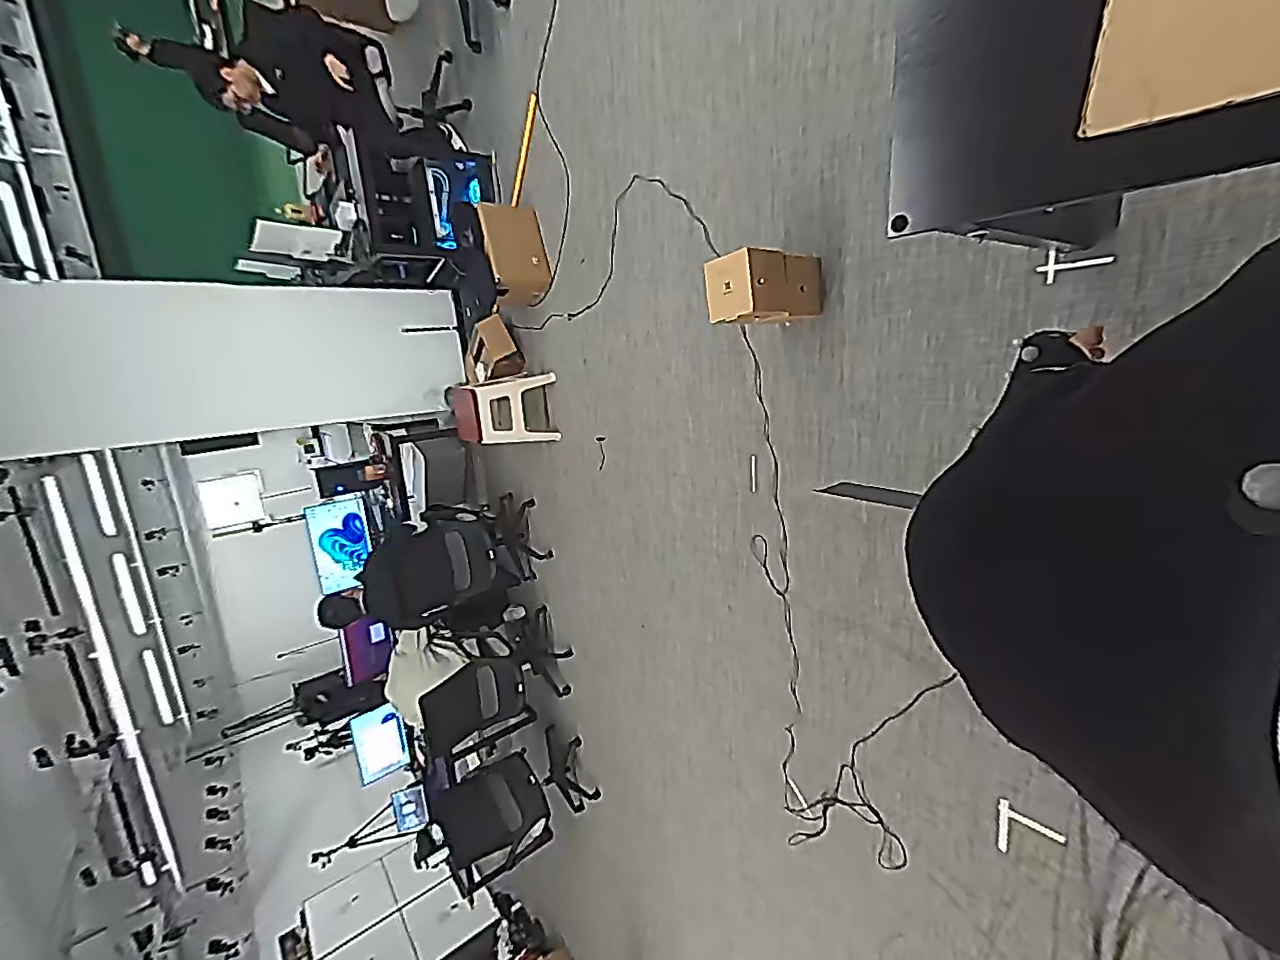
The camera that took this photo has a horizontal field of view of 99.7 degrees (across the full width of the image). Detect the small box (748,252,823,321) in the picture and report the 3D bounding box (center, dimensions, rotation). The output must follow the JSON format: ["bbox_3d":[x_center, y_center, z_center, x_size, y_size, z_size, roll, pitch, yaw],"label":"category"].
[{"bbox_3d":[0.447,-0.592,1.671,0.168,0.176,0.179,7,107,52],"label":"small box"}]

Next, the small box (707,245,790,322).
[{"bbox_3d":[0.319,-0.567,1.574,0.168,0.176,0.179,3,103,52],"label":"small box"}]
